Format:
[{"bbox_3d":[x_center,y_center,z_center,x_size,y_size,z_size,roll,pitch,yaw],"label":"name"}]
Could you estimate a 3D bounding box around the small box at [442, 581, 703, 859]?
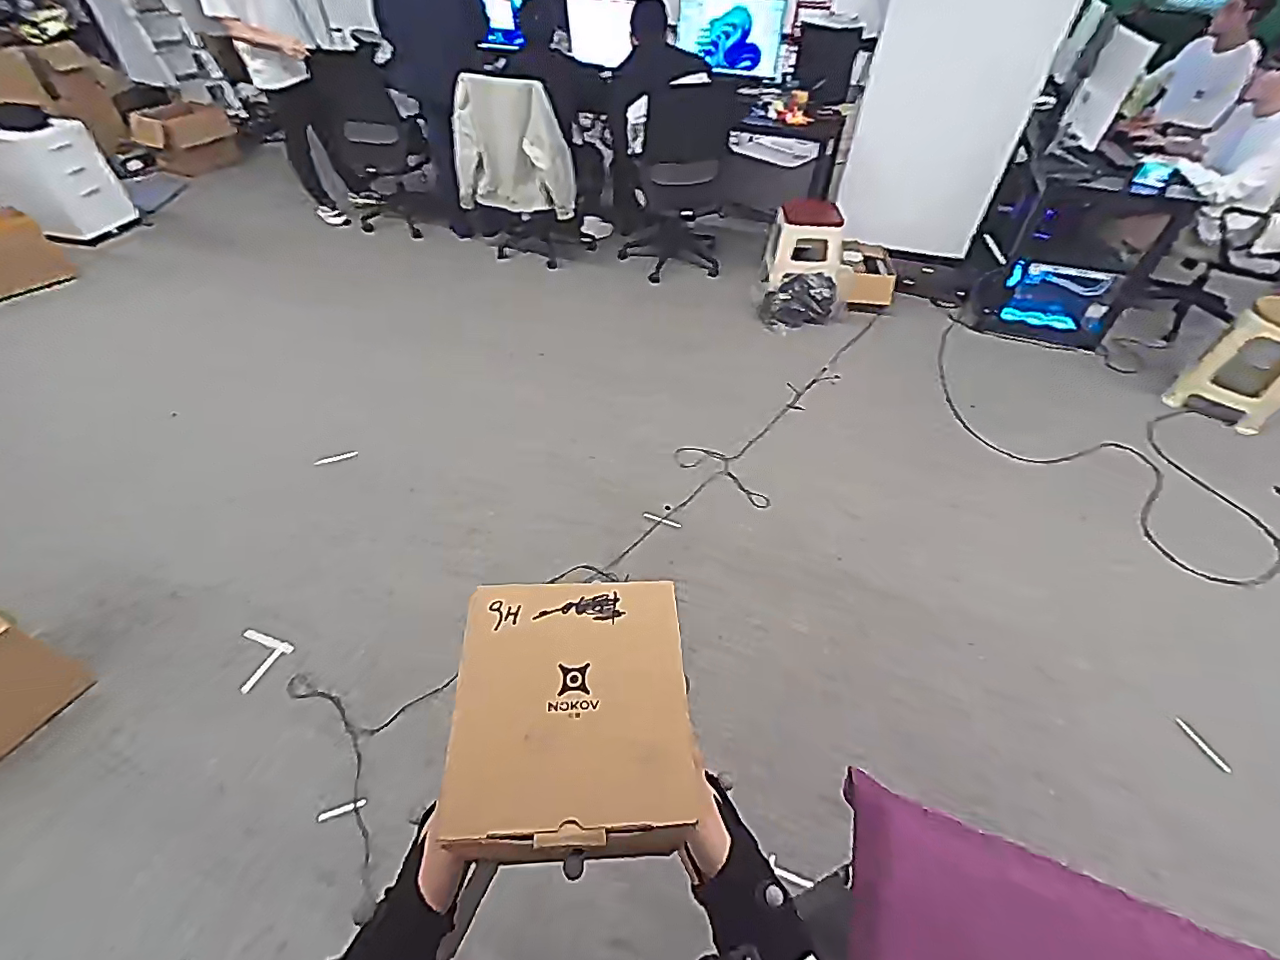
[{"bbox_3d":[-0.050,0.201,0.446,0.168,0.176,0.179,0,51,-6],"label":"small box"}]
